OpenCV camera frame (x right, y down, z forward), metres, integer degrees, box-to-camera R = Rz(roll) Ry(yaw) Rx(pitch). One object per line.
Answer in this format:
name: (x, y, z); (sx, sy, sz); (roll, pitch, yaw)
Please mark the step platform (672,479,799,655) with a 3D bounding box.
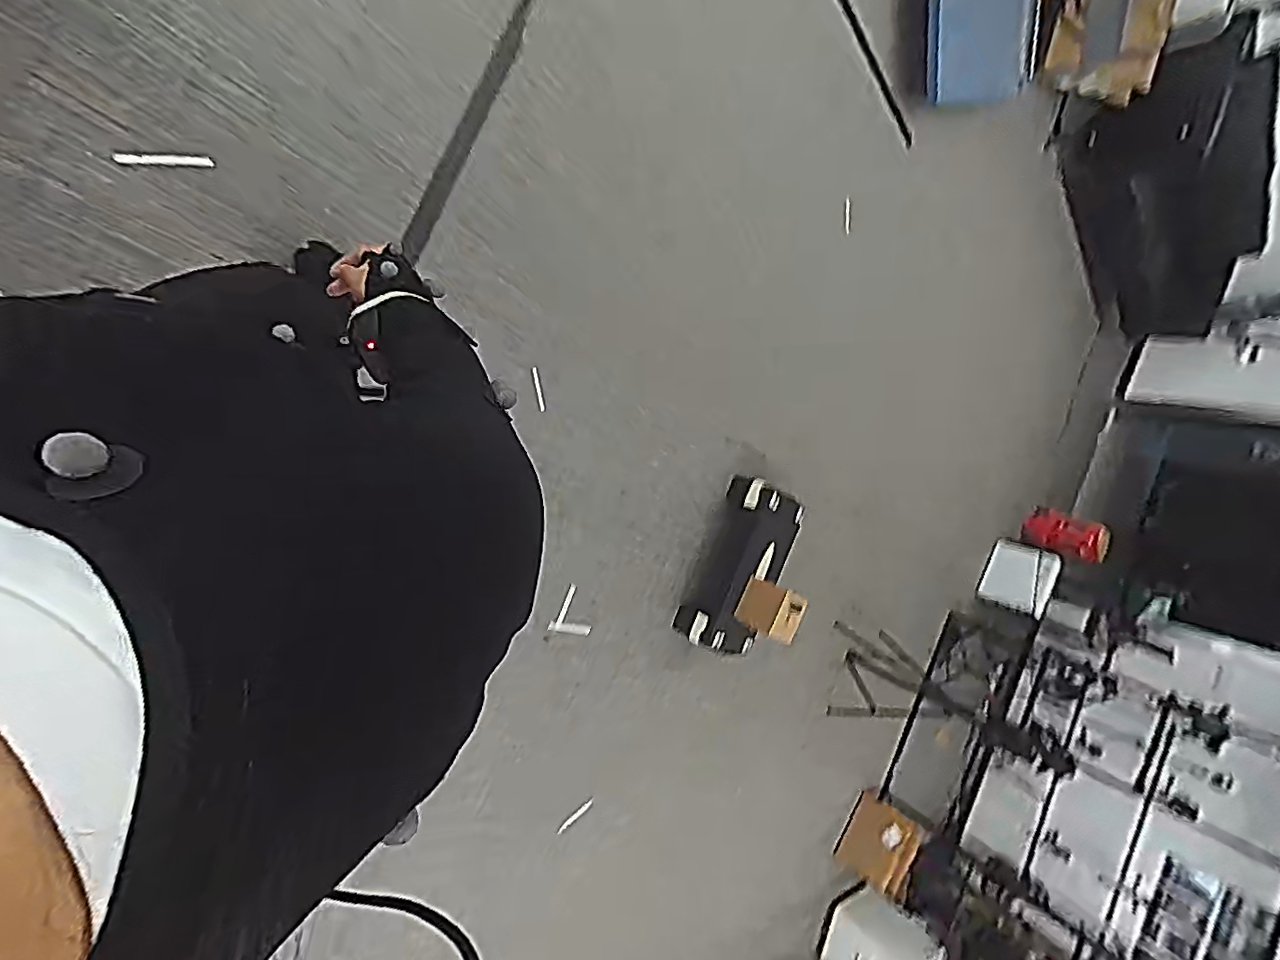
step platform: (0.395, 0.353, 2.174); (0.286, 0.204, 0.684); (25, 85, -42)
